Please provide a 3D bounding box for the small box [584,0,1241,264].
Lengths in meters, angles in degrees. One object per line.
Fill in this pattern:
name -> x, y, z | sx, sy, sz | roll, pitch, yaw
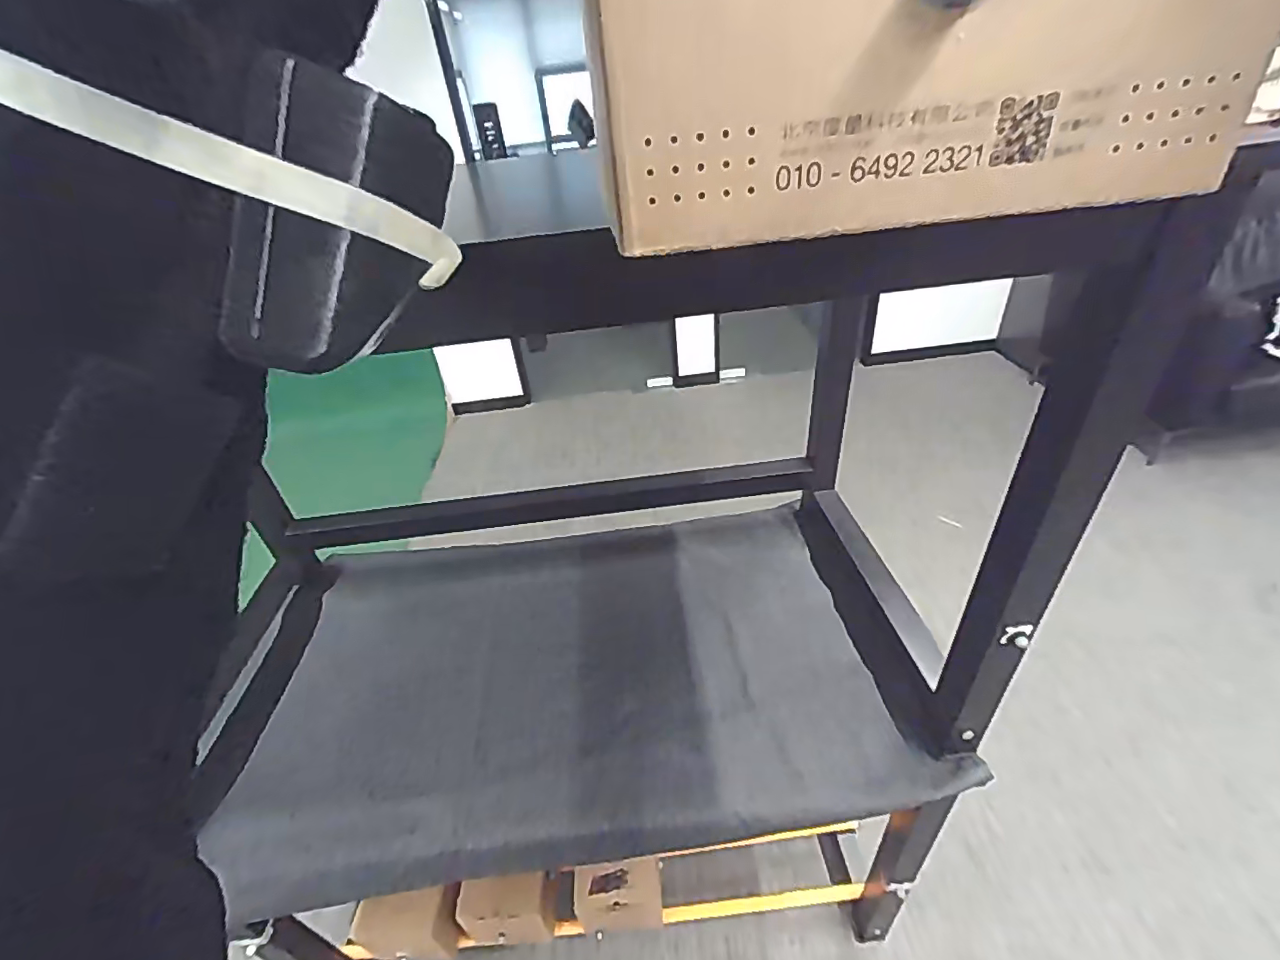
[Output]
small box -> 0.063, -0.180, 0.189 | 0.168, 0.176, 0.179 | -8, 32, -1
